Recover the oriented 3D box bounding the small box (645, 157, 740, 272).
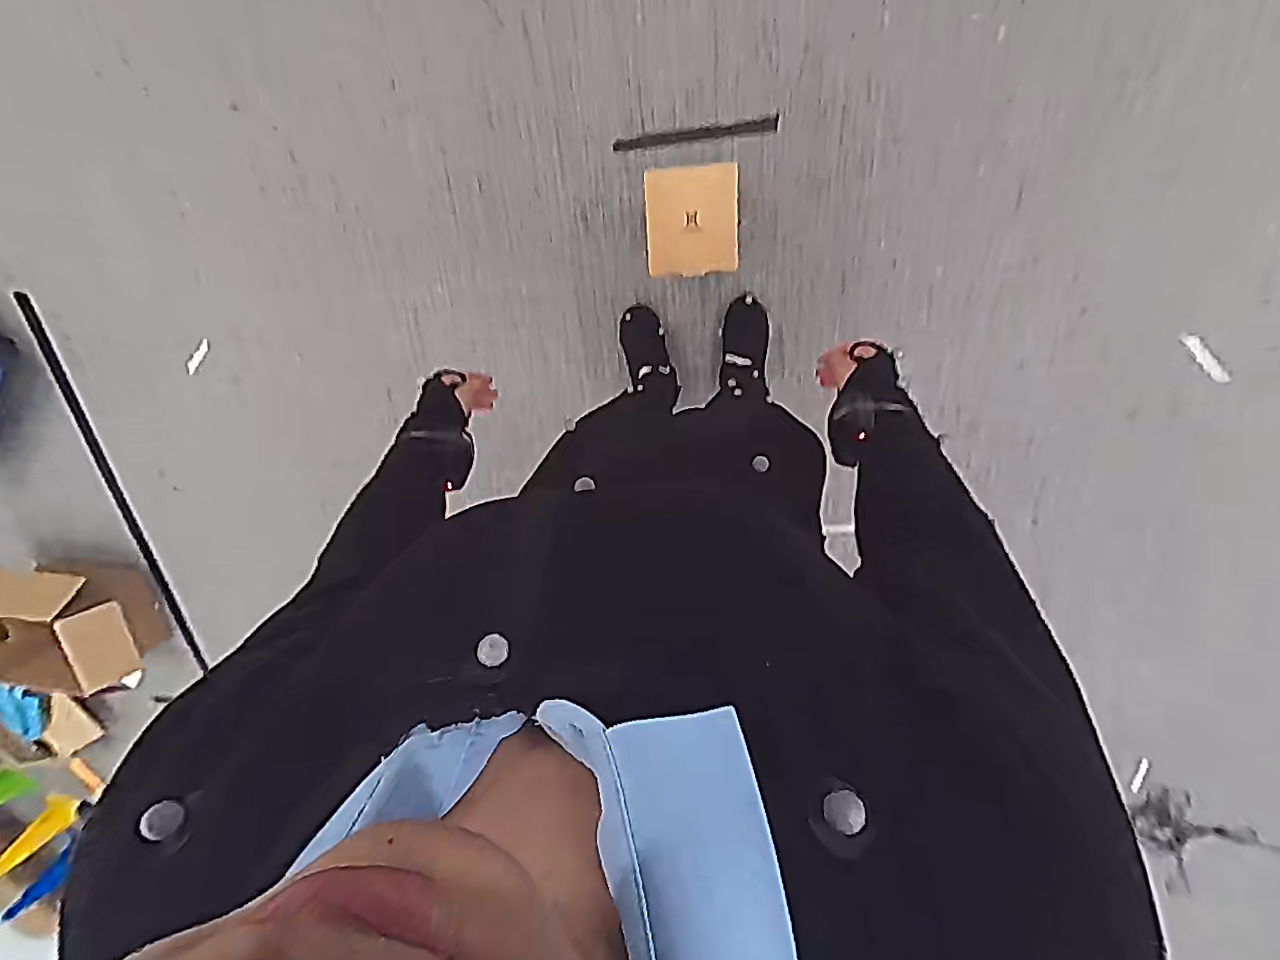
[{"bbox_3d":[0.104,-0.499,1.033,0.168,0.176,0.179,-1,114,10],"label":"small box"}]
